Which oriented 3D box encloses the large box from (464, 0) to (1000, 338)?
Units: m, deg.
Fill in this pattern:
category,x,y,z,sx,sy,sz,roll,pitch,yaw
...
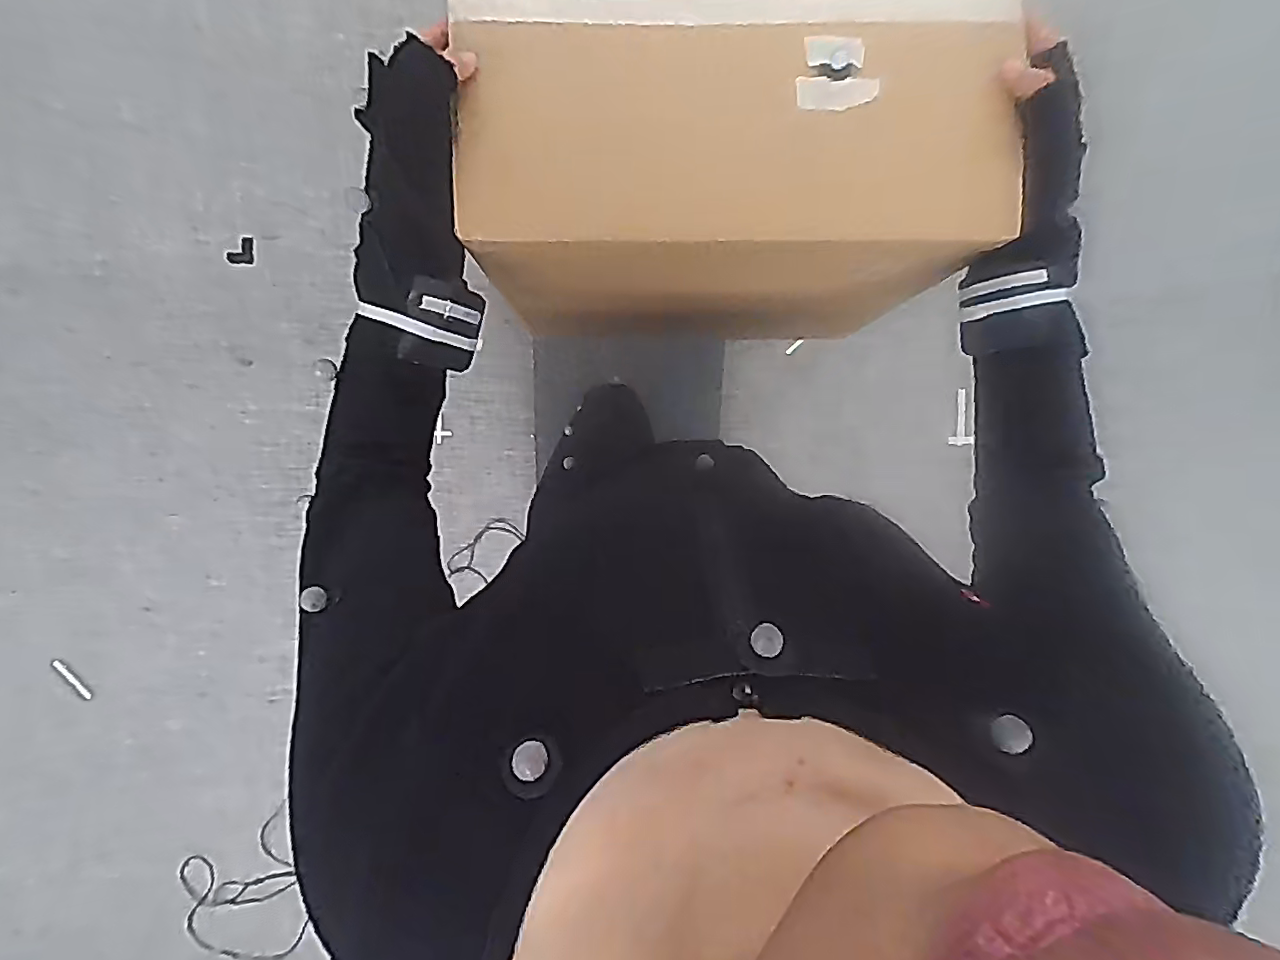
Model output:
category,x,y,z,sx,sy,sz,roll,pitch,yaw
large box,0.063,-0.338,0.548,0.408,0.320,0.320,-1,91,-1
